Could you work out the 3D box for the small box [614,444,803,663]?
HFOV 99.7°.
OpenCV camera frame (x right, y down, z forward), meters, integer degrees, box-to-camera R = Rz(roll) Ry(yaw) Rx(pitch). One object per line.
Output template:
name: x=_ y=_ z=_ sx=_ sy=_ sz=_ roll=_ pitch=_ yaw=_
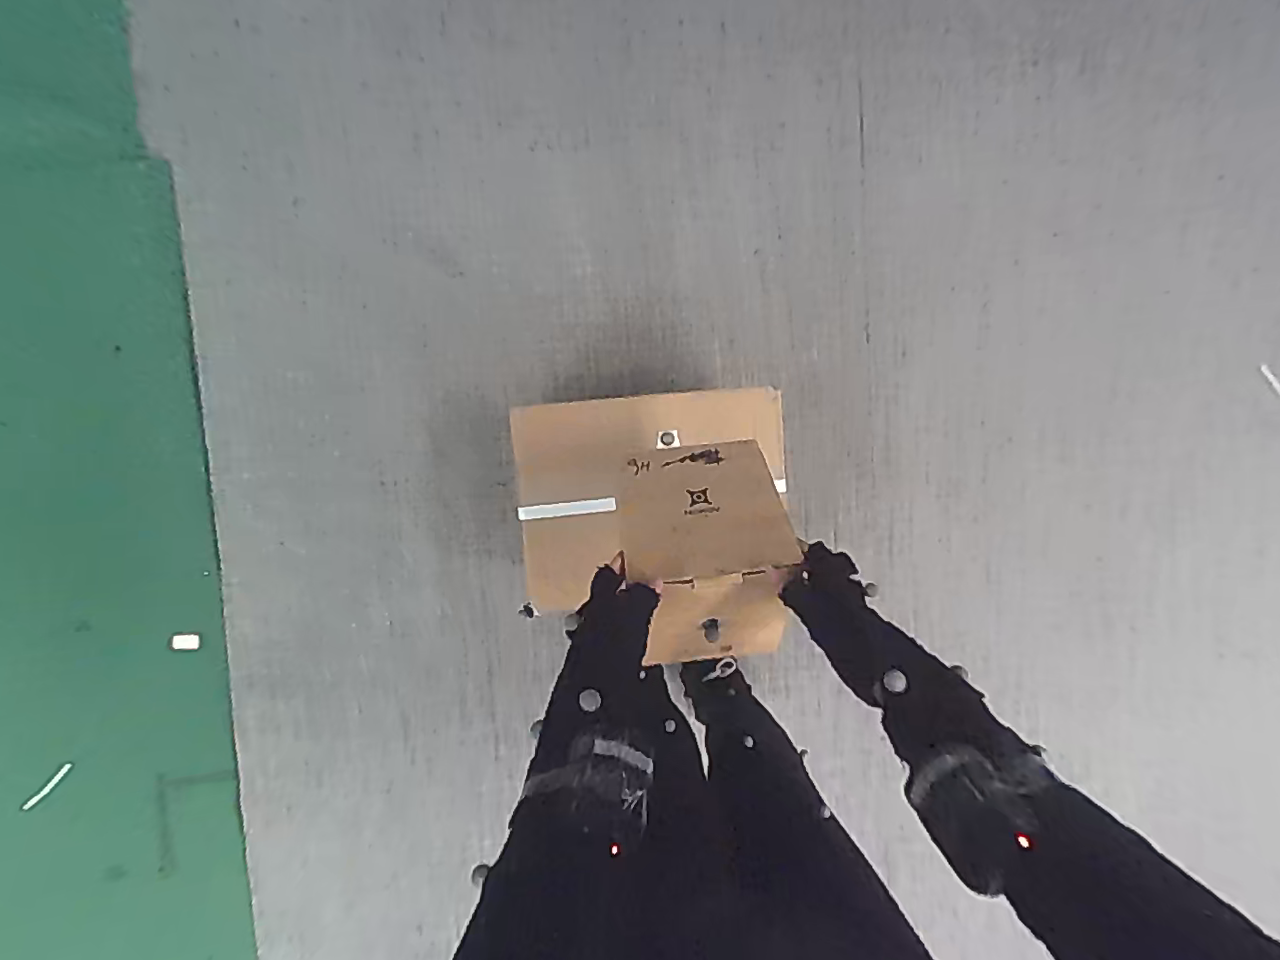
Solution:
small box: x=0.063 y=0.086 z=0.595 sx=0.168 sy=0.179 sz=0.176 roll=-6 pitch=136 yaw=-2
